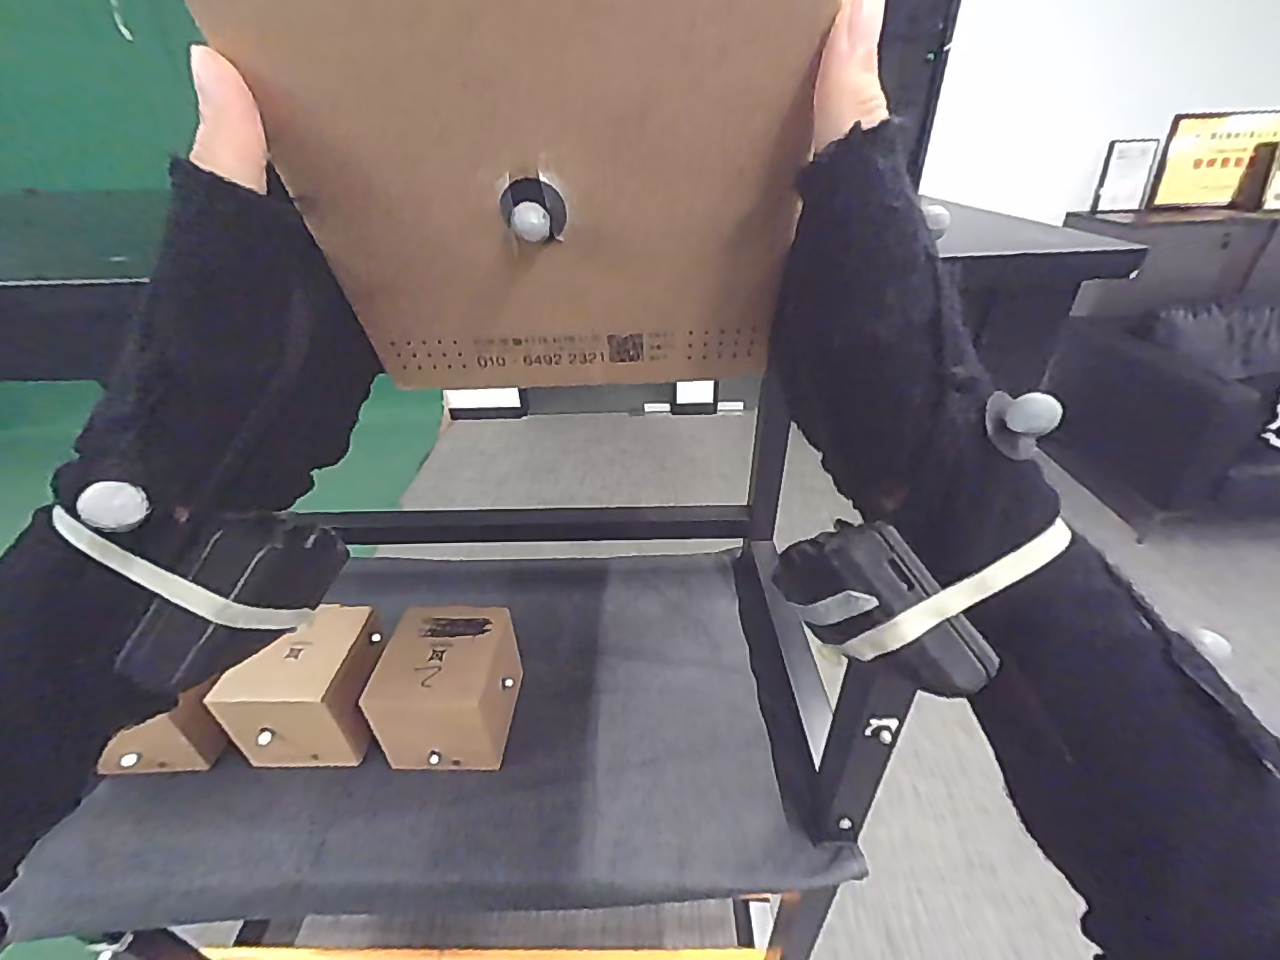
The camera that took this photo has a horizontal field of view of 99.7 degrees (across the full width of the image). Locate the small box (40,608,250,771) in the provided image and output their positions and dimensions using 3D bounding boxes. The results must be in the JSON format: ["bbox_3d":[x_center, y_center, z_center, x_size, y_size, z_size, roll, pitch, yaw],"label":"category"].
[{"bbox_3d":[-0.731,0.322,0.841,0.168,0.176,0.179,-2,33,-1],"label":"small box"}]

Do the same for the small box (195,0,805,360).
[{"bbox_3d":[-0.033,-0.165,0.227,0.168,0.176,0.179,-2,53,0],"label":"small box"}]

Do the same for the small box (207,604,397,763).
[{"bbox_3d":[-0.504,0.317,0.843,0.168,0.176,0.179,-1,32,1],"label":"small box"}]
